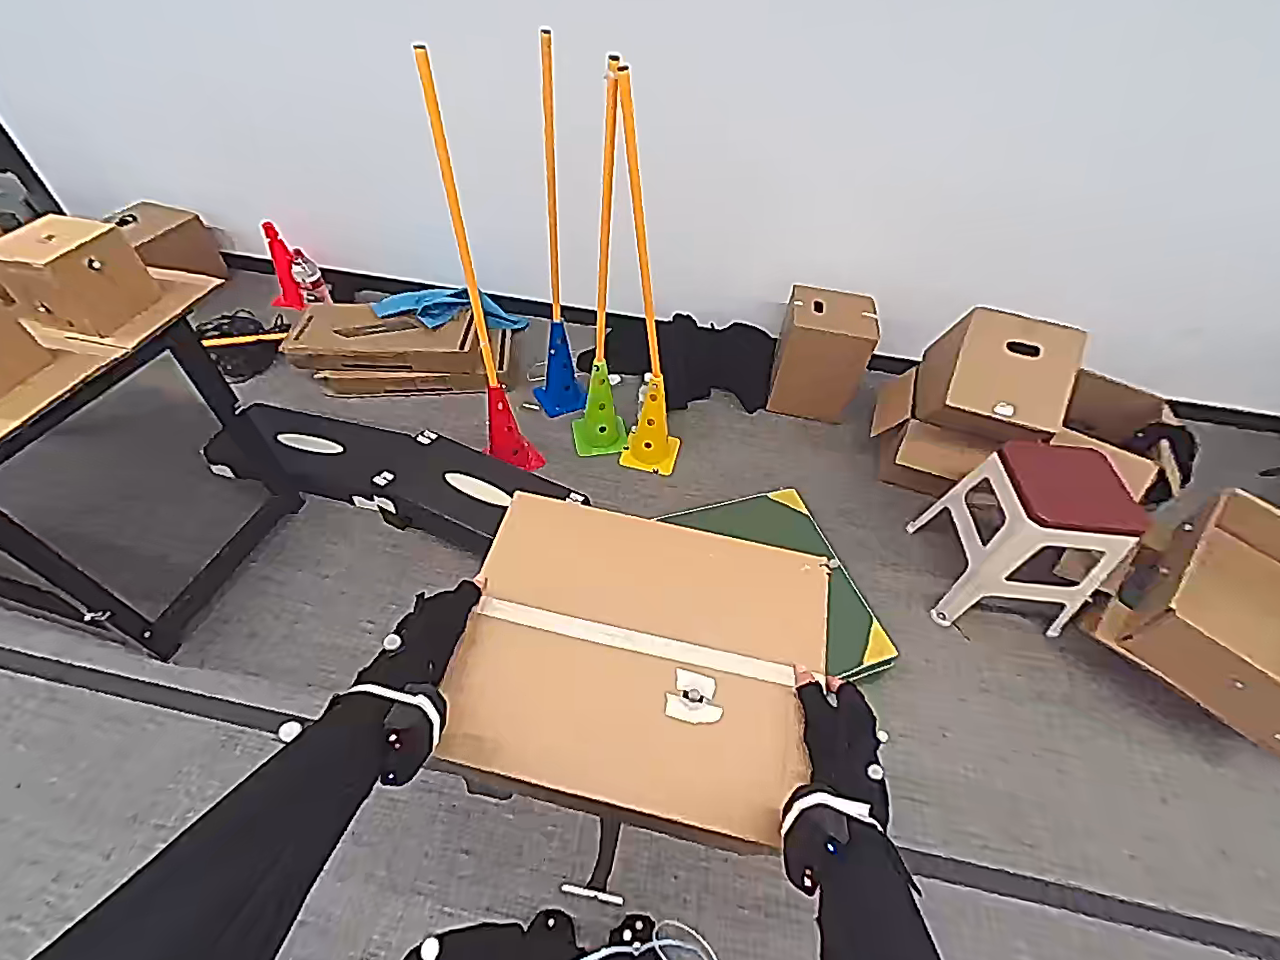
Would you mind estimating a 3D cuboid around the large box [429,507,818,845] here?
[{"bbox_3d":[-0.006,0.277,0.745,0.408,0.320,0.320,12,57,4],"label":"large box"}]
